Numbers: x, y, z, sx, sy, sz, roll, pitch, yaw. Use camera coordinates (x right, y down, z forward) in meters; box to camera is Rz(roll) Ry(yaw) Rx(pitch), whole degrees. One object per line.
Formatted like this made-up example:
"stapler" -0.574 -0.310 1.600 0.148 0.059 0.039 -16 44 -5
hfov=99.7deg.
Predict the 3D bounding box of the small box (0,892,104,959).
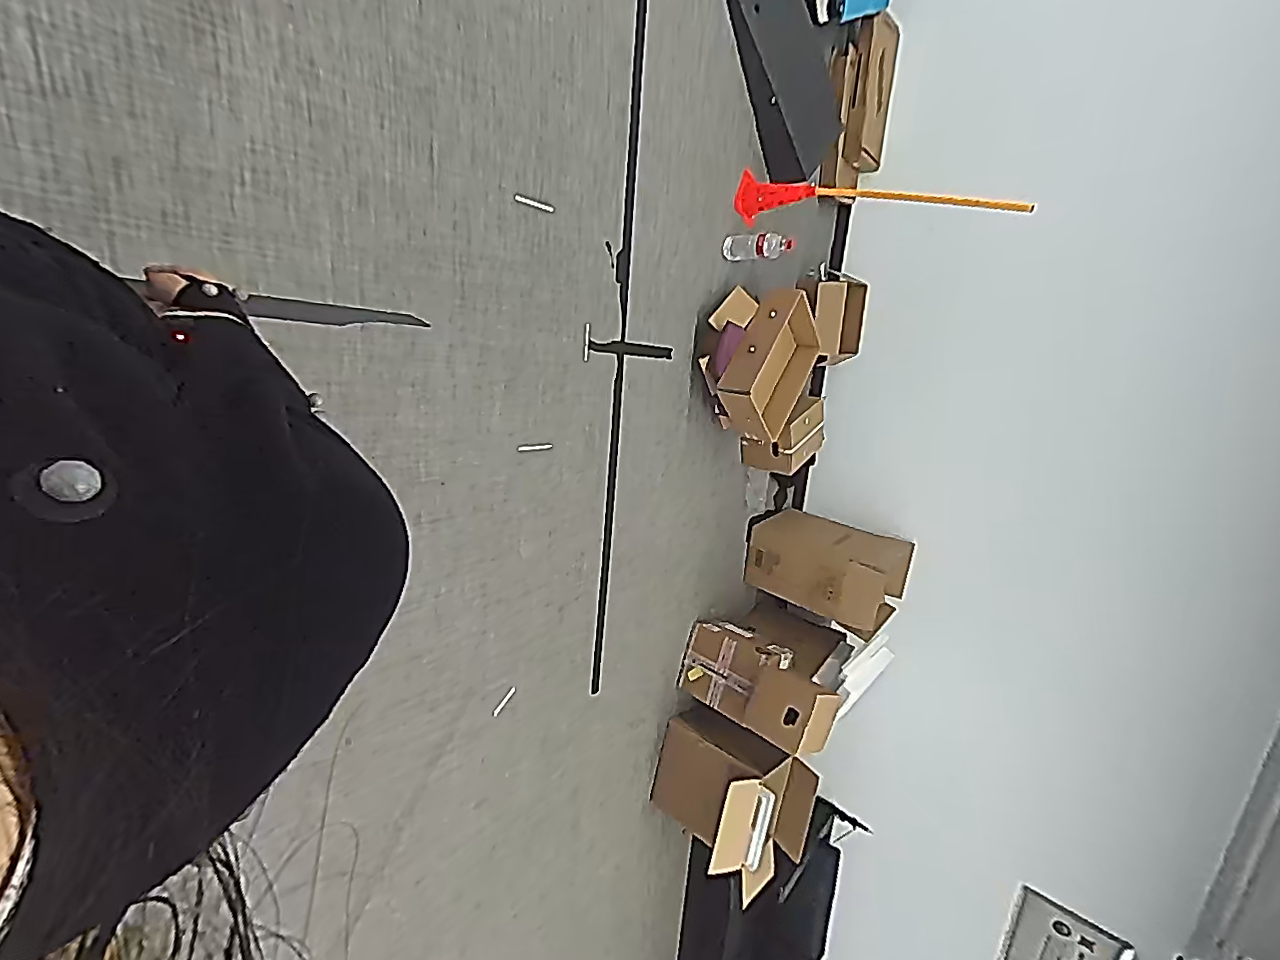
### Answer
"small box" -1.252 1.005 1.112 0.168 0.176 0.179 -29 123 -43

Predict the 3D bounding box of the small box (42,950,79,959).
"small box" -1.131 1.047 1.009 0.168 0.176 0.179 -29 124 -45
